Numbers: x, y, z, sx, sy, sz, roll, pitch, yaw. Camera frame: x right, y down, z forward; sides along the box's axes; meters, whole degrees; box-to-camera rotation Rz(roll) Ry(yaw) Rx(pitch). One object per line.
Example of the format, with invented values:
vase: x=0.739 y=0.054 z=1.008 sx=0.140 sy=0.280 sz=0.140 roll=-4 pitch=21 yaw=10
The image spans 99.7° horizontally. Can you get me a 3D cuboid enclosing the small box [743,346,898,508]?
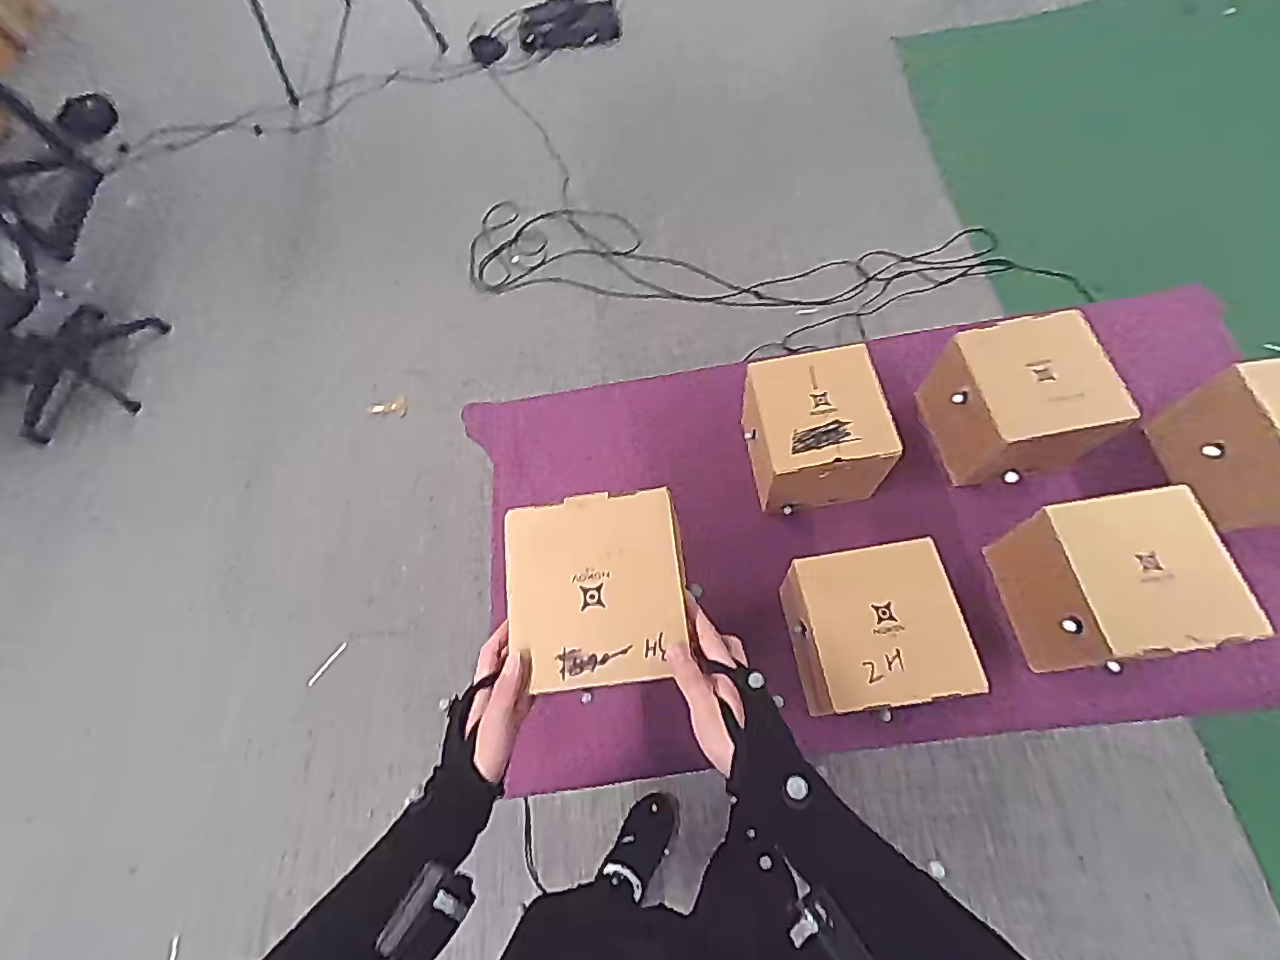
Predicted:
small box: x=0.253 y=-0.067 z=0.803 sx=0.168 sy=0.176 sz=0.179 roll=-8 pitch=66 yaw=3

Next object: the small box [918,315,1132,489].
small box: x=0.535 y=-0.106 z=0.786 sx=0.168 sy=0.176 sz=0.179 roll=-10 pitch=67 yaw=4

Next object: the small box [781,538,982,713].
small box: x=0.285 y=0.191 z=0.688 sx=0.168 sy=0.176 sz=0.179 roll=-9 pitch=65 yaw=4

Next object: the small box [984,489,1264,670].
small box: x=0.575 y=0.132 z=0.679 sx=0.168 sy=0.176 sz=0.179 roll=-9 pitch=66 yaw=3
